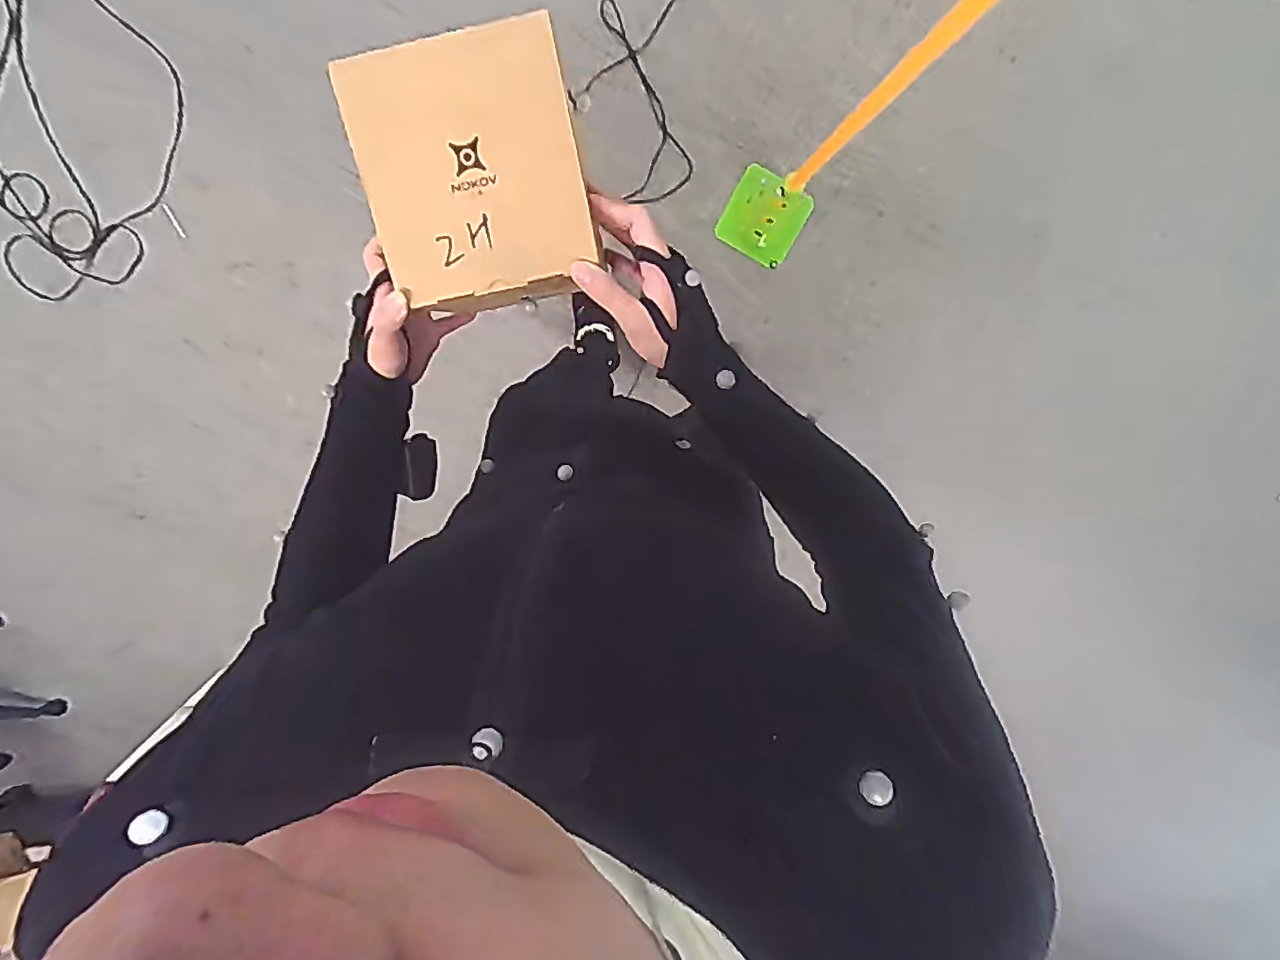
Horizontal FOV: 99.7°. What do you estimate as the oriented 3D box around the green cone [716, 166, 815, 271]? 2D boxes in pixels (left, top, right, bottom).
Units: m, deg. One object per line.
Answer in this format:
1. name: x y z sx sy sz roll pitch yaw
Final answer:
1. green cone: 0.315 -0.633 1.230 0.202 0.368 0.200 28 103 -4
